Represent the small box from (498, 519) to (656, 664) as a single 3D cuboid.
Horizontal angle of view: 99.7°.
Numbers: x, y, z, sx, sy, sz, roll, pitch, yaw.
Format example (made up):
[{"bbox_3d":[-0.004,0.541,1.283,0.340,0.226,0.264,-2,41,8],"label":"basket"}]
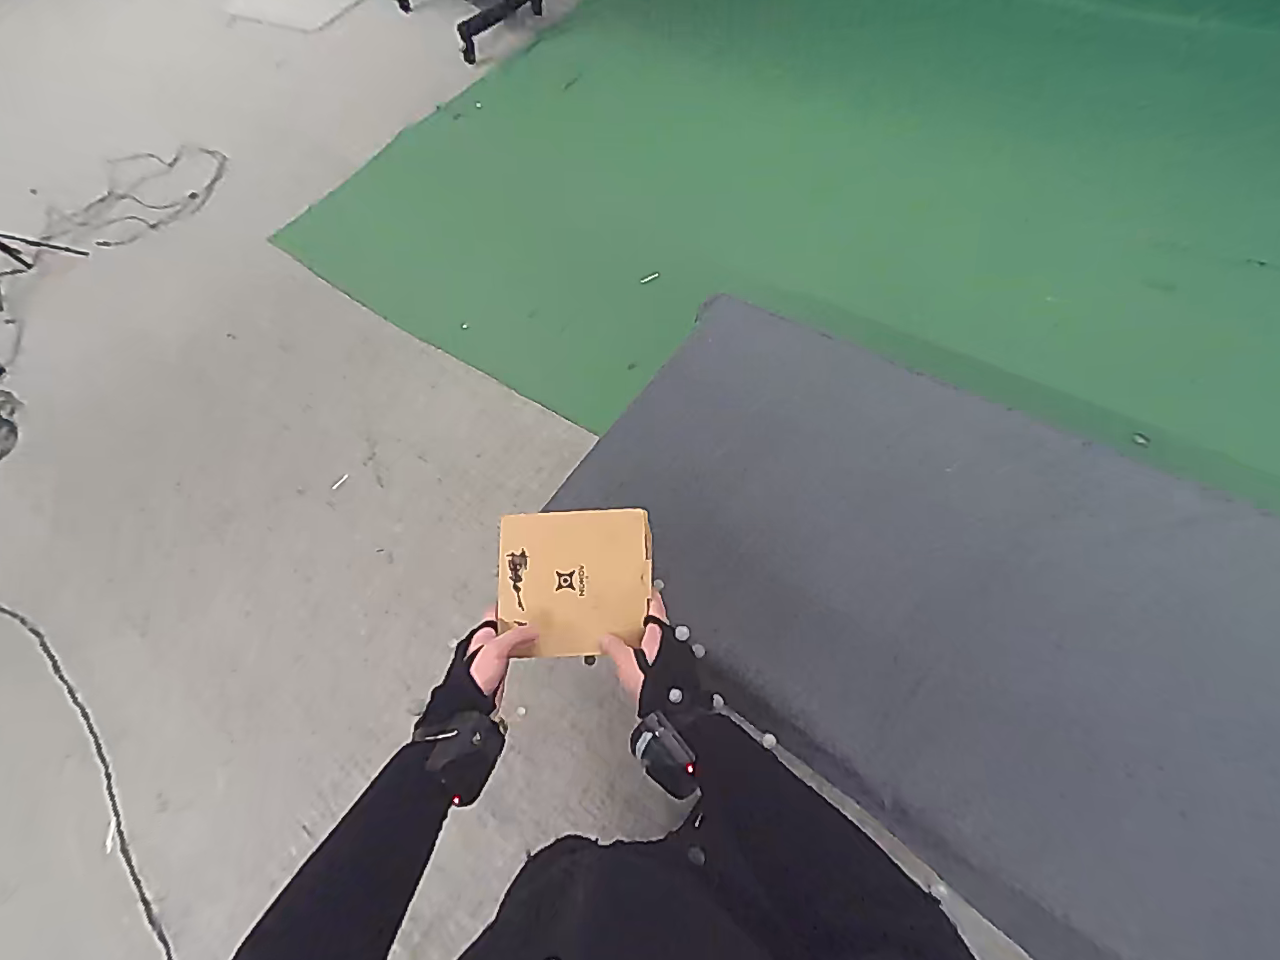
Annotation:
[{"bbox_3d":[-0.070,0.147,0.697,0.179,0.176,0.168,-1,73,1],"label":"small box"}]
